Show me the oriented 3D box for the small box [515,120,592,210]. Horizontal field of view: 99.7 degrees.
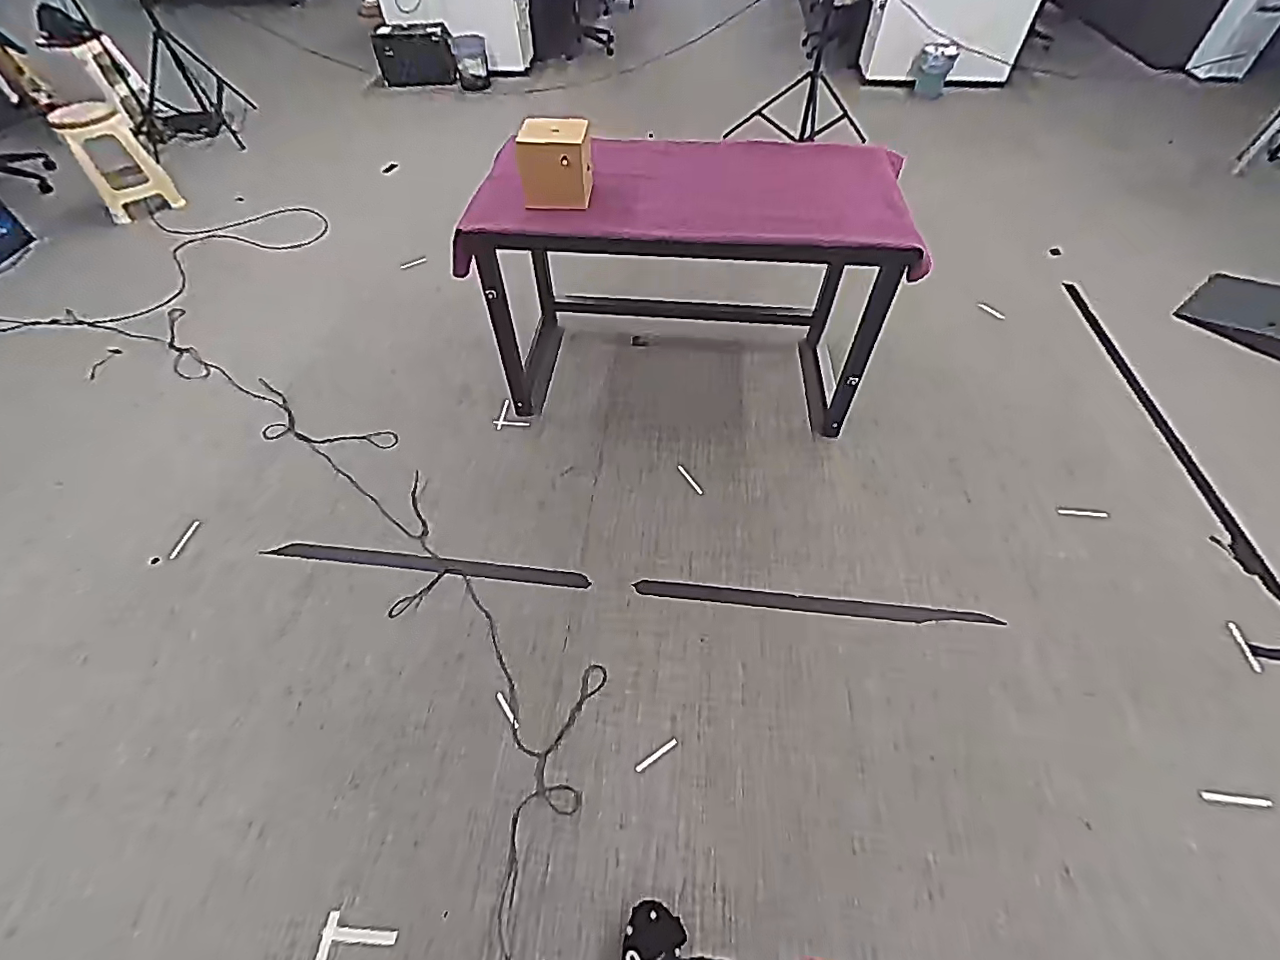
[{"bbox_3d":[-0.228,-0.858,1.480,0.179,0.176,0.168,2,51,2],"label":"small box"}]
